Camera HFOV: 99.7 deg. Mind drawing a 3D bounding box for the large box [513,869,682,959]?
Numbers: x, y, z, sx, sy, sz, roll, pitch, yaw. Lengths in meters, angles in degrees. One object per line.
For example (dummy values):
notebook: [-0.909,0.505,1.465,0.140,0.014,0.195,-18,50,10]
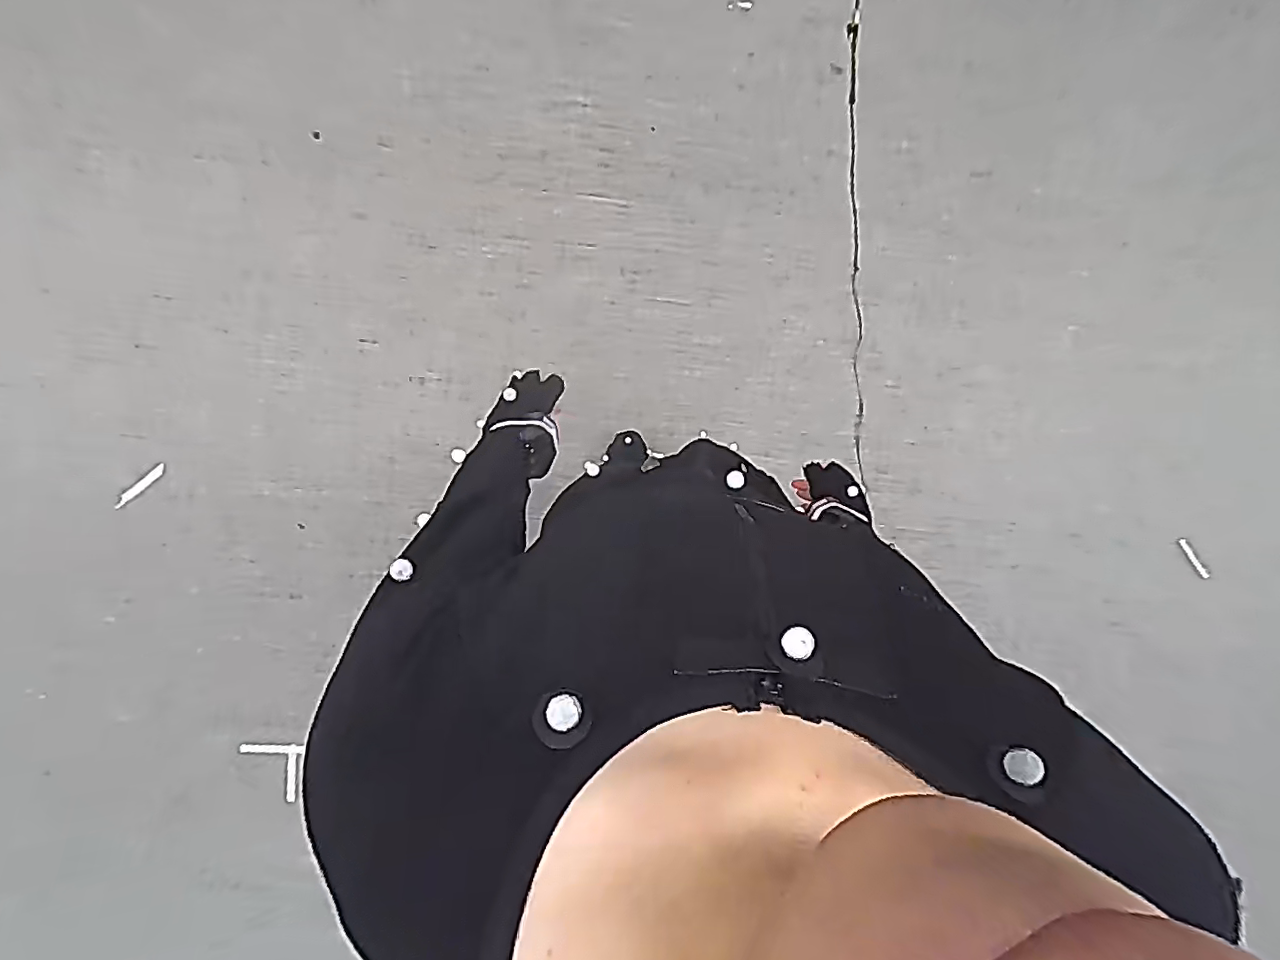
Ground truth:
large box: [-0.096,1.269,1.380,0.408,0.320,0.320,-4,92,-3]
